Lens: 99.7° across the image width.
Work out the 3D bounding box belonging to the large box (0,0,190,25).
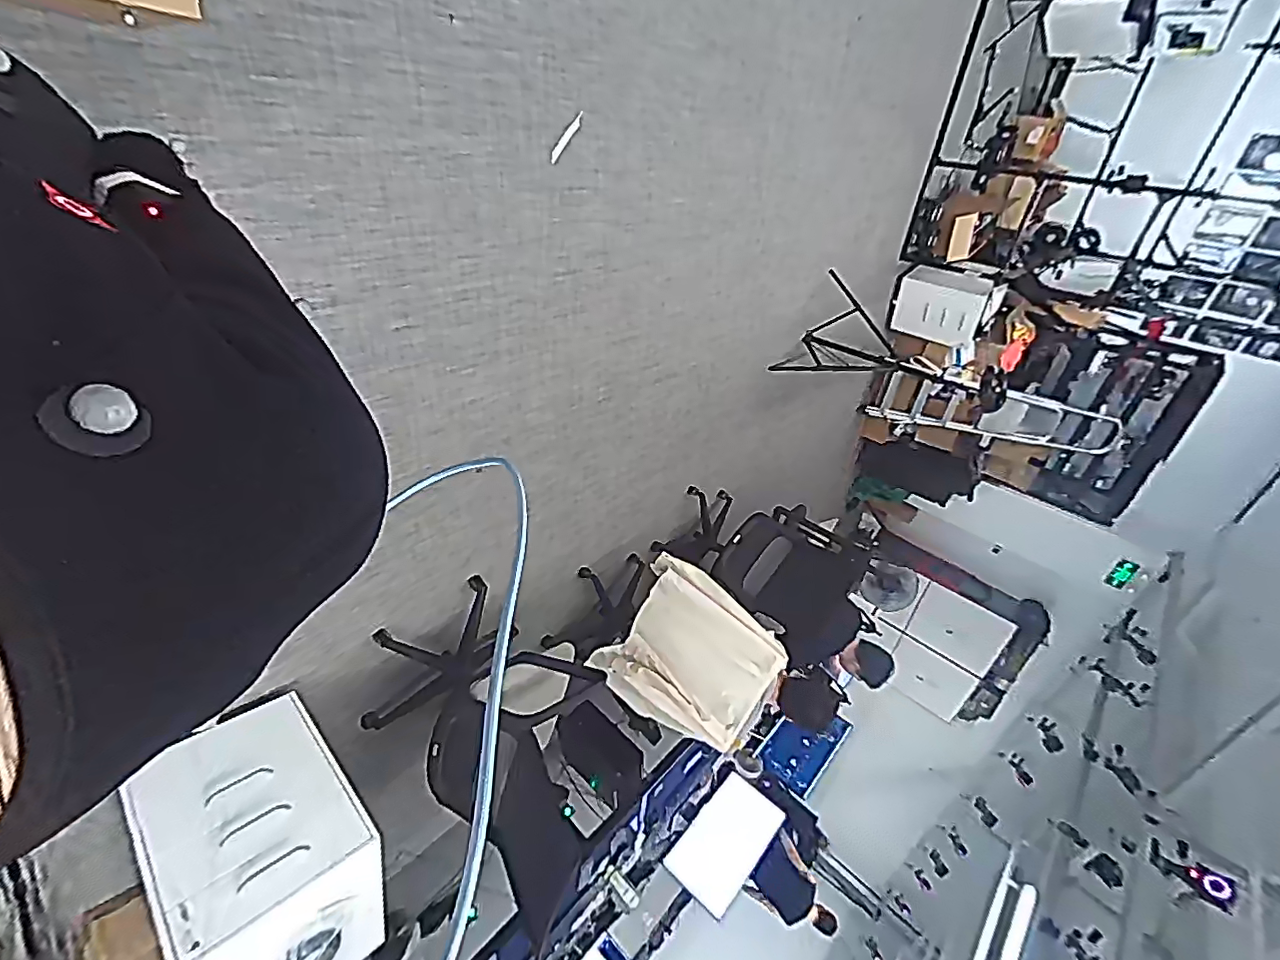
[{"bbox_3d":[-0.828,-0.745,0.599,0.408,0.320,0.320,-25,133,-43],"label":"large box"}]
